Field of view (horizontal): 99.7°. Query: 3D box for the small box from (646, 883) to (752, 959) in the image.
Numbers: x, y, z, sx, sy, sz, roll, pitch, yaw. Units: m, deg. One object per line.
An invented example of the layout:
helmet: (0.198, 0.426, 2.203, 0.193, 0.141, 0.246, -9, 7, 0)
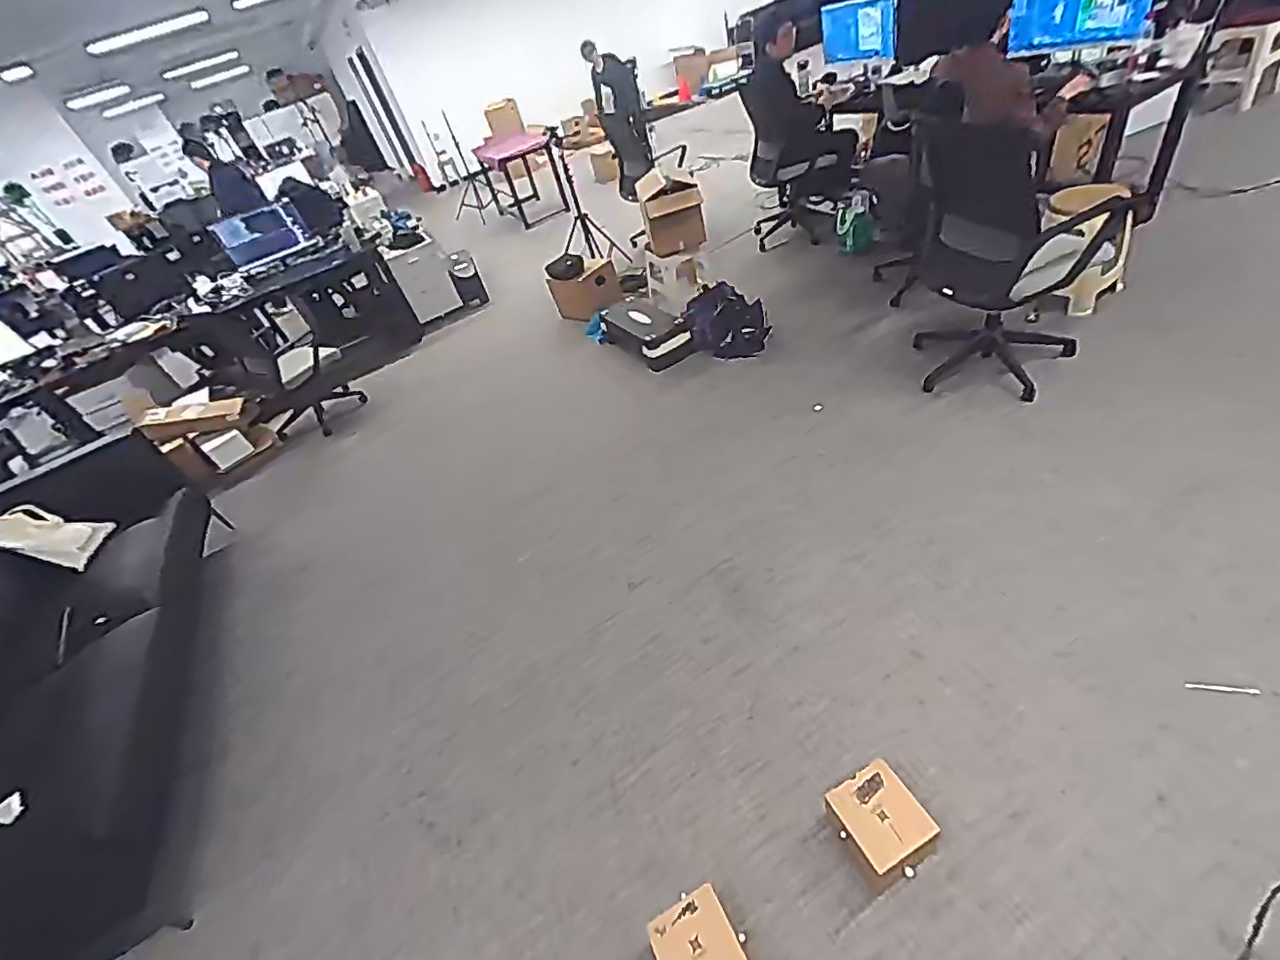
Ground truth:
small box: (0.138, 1.014, 1.153, 0.168, 0.176, 0.179, -28, 41, -10)

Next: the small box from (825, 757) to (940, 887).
small box: (0.548, 0.787, 1.242, 0.168, 0.176, 0.179, -29, 42, -9)
